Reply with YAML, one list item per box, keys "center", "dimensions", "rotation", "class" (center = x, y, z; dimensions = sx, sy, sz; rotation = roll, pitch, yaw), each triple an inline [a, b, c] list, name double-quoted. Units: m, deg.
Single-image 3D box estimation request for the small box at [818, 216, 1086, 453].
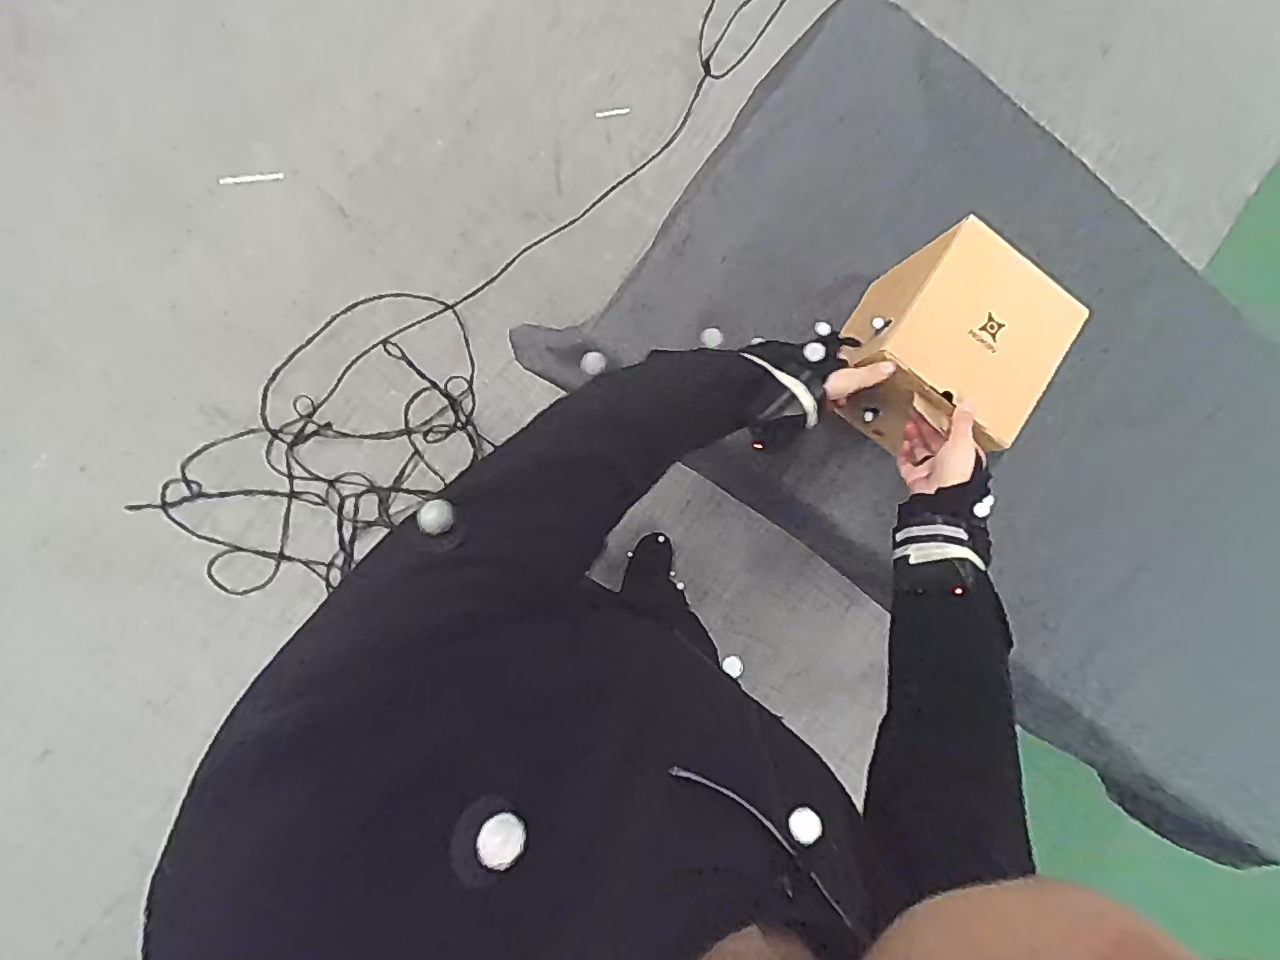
- center: [0.337, -0.148, 0.618]
  dimensions: [0.168, 0.176, 0.179]
  rotation: [35, 84, -7]
  class: "small box"
